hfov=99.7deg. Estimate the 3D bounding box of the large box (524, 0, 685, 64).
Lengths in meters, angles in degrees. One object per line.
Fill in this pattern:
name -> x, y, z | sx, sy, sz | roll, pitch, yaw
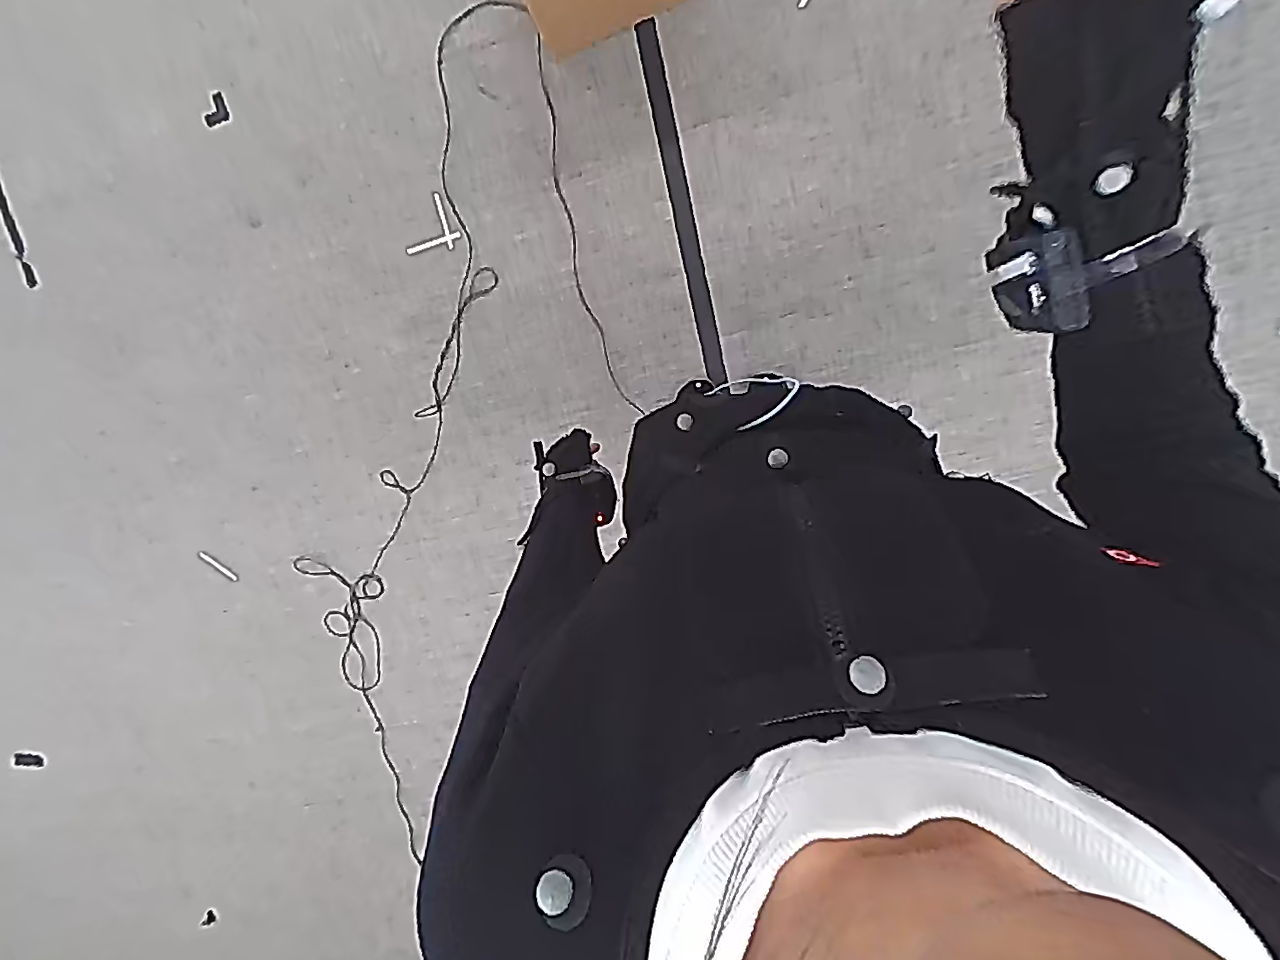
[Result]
large box -> -0.095, -1.176, 1.110 | 0.408, 0.320, 0.320 | -19, 99, 8
